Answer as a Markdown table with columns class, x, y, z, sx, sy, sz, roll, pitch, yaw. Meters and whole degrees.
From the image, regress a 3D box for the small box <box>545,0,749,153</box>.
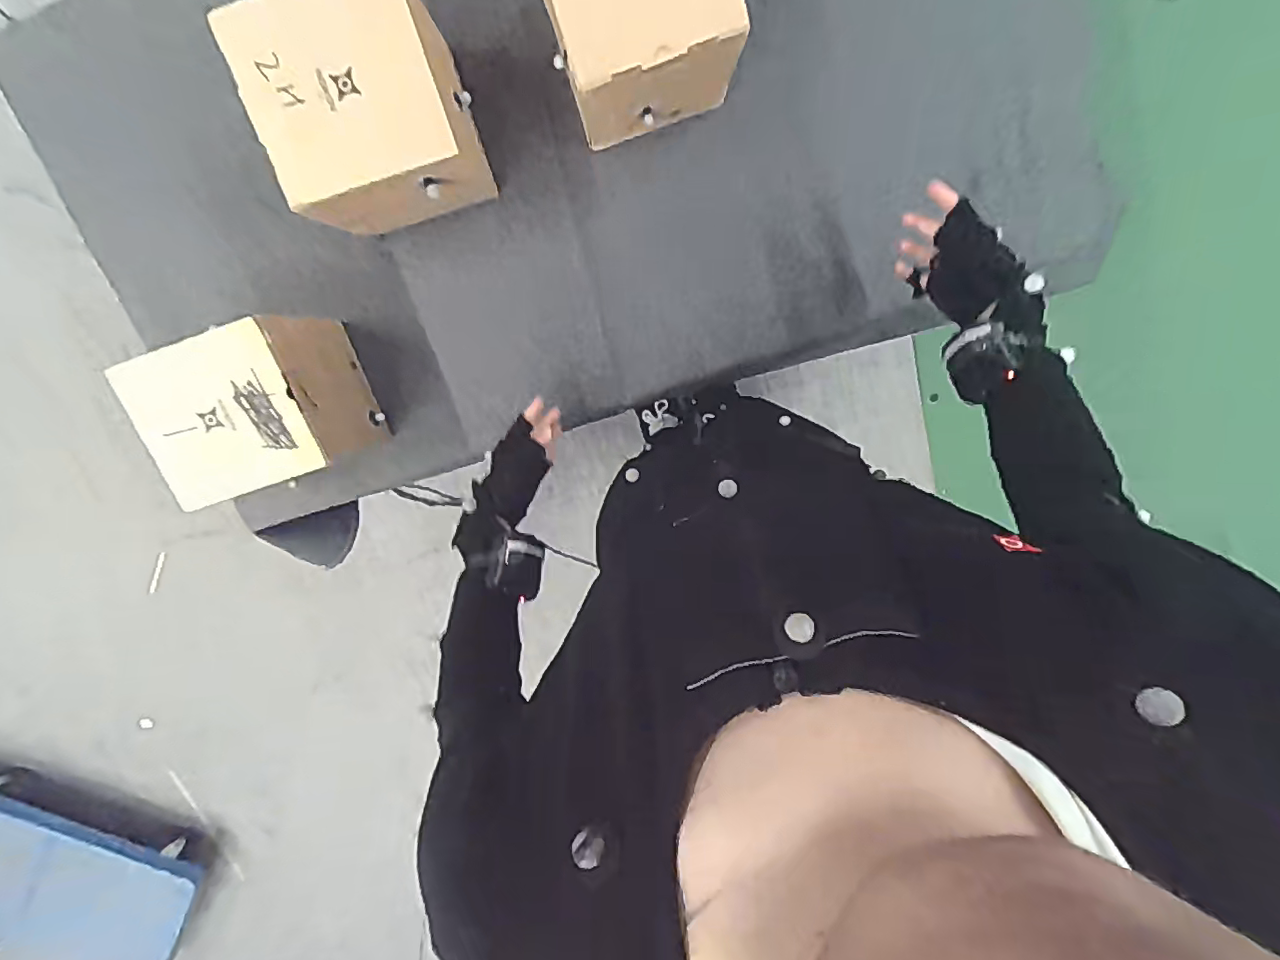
| class | x | y | z | sx | sy | sz | roll | pitch | yaw |
| --- | --- | --- | --- | --- | --- | --- | --- | --- | --- |
| small box | -0.005 | -0.478 | 0.557 | 0.168 | 0.176 | 0.179 | -18 | 105 | 3 |

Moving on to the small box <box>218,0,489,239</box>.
| class | x | y | z | sx | sy | sz | roll | pitch | yaw |
| --- | --- | --- | --- | --- | --- | --- | --- | --- | --- |
| small box | -0.275 | -0.374 | 0.573 | 0.179 | 0.176 | 0.168 | -16 | 105 | 3 |

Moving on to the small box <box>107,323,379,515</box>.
| class | x | y | z | sx | sy | sz | roll | pitch | yaw |
| --- | --- | --- | --- | --- | --- | --- | --- | --- | --- |
| small box | -0.442 | -0.080 | 0.644 | 0.179 | 0.176 | 0.168 | -18 | 103 | 3 |
